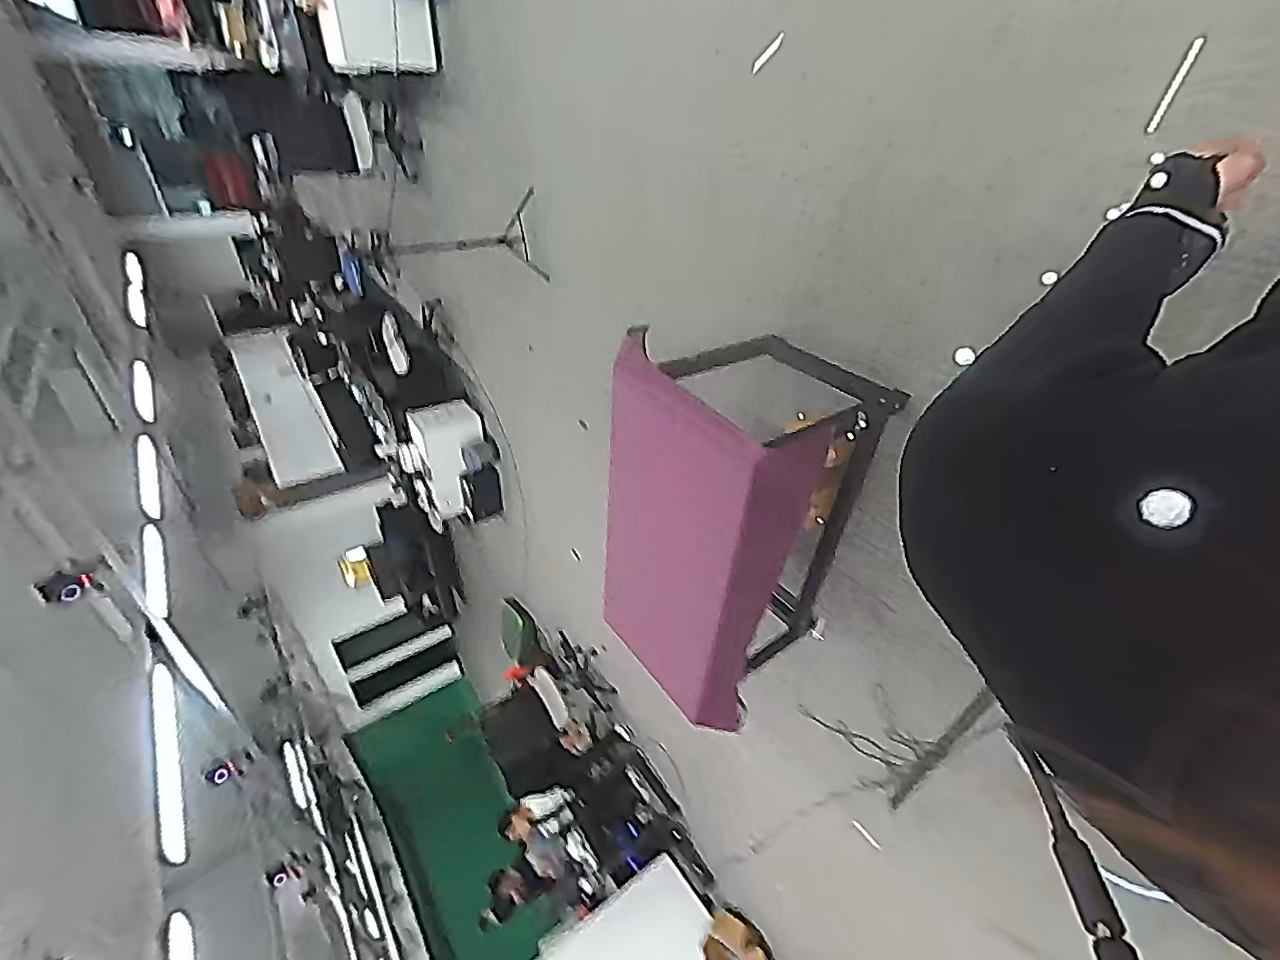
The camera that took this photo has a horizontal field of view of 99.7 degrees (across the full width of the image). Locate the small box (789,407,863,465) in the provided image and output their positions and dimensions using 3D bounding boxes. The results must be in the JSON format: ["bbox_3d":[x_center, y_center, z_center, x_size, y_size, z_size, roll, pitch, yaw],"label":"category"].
[{"bbox_3d":[0.660,-0.159,1.918,0.179,0.176,0.168,8,116,56],"label":"small box"}]
